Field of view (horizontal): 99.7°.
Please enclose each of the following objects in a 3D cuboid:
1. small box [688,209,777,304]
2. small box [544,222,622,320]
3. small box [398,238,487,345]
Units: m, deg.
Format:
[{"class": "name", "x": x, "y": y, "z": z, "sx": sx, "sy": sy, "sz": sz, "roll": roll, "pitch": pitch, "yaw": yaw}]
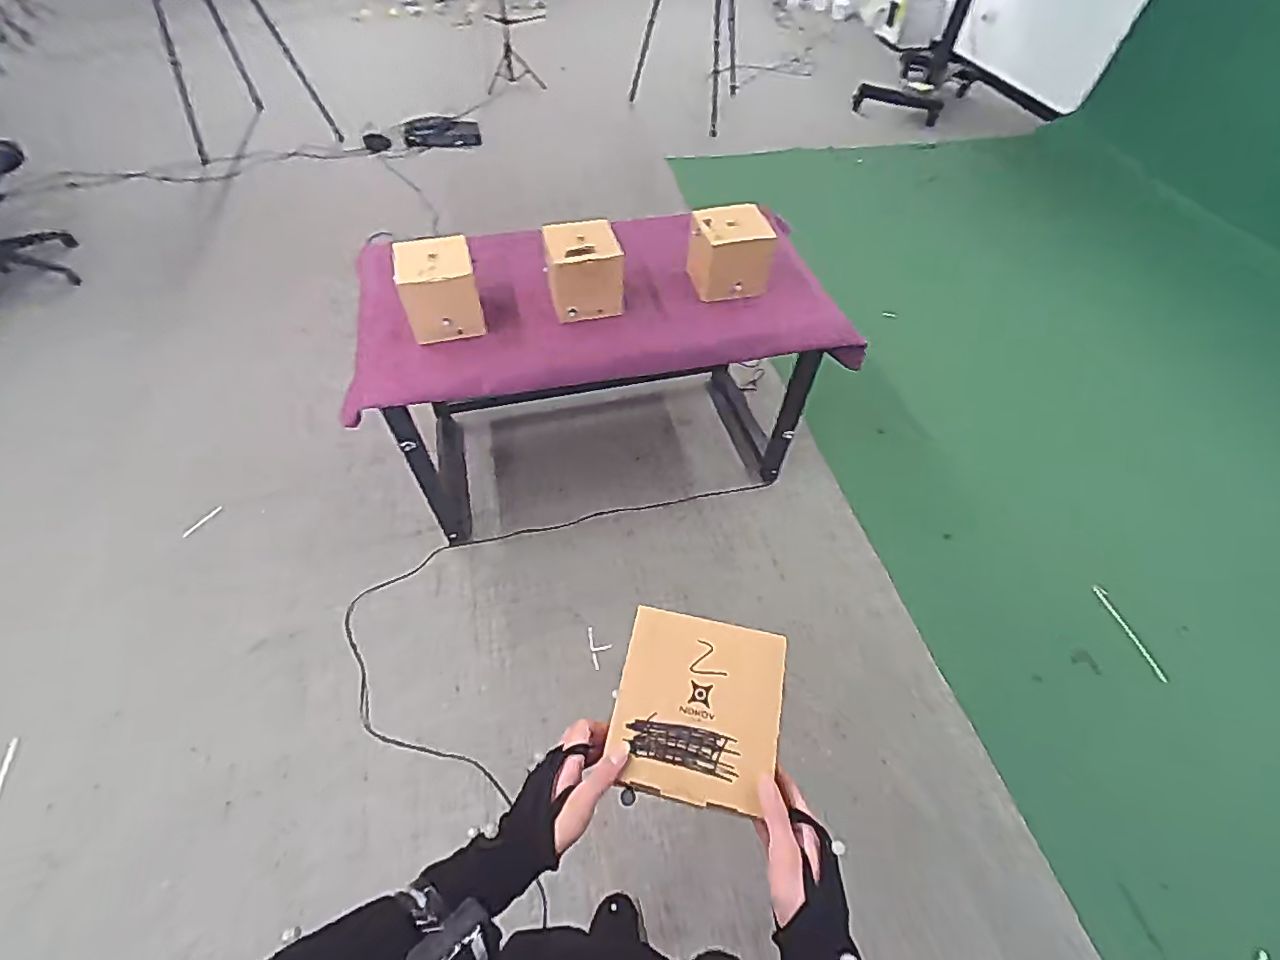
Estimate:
[{"class": "small box", "x": 0.238, "y": -0.592, "z": 1.436, "sx": 0.179, "sy": 0.176, "sz": 0.168, "roll": -10, "pitch": 54, "yaw": -9}, {"class": "small box", "x": -0.141, "y": -0.522, "z": 1.372, "sx": 0.168, "sy": 0.176, "sz": 0.179, "roll": -11, "pitch": 54, "yaw": -10}, {"class": "small box", "x": -0.475, "y": -0.454, "z": 1.308, "sx": 0.168, "sy": 0.176, "sz": 0.179, "roll": -12, "pitch": 55, "yaw": -11}]
